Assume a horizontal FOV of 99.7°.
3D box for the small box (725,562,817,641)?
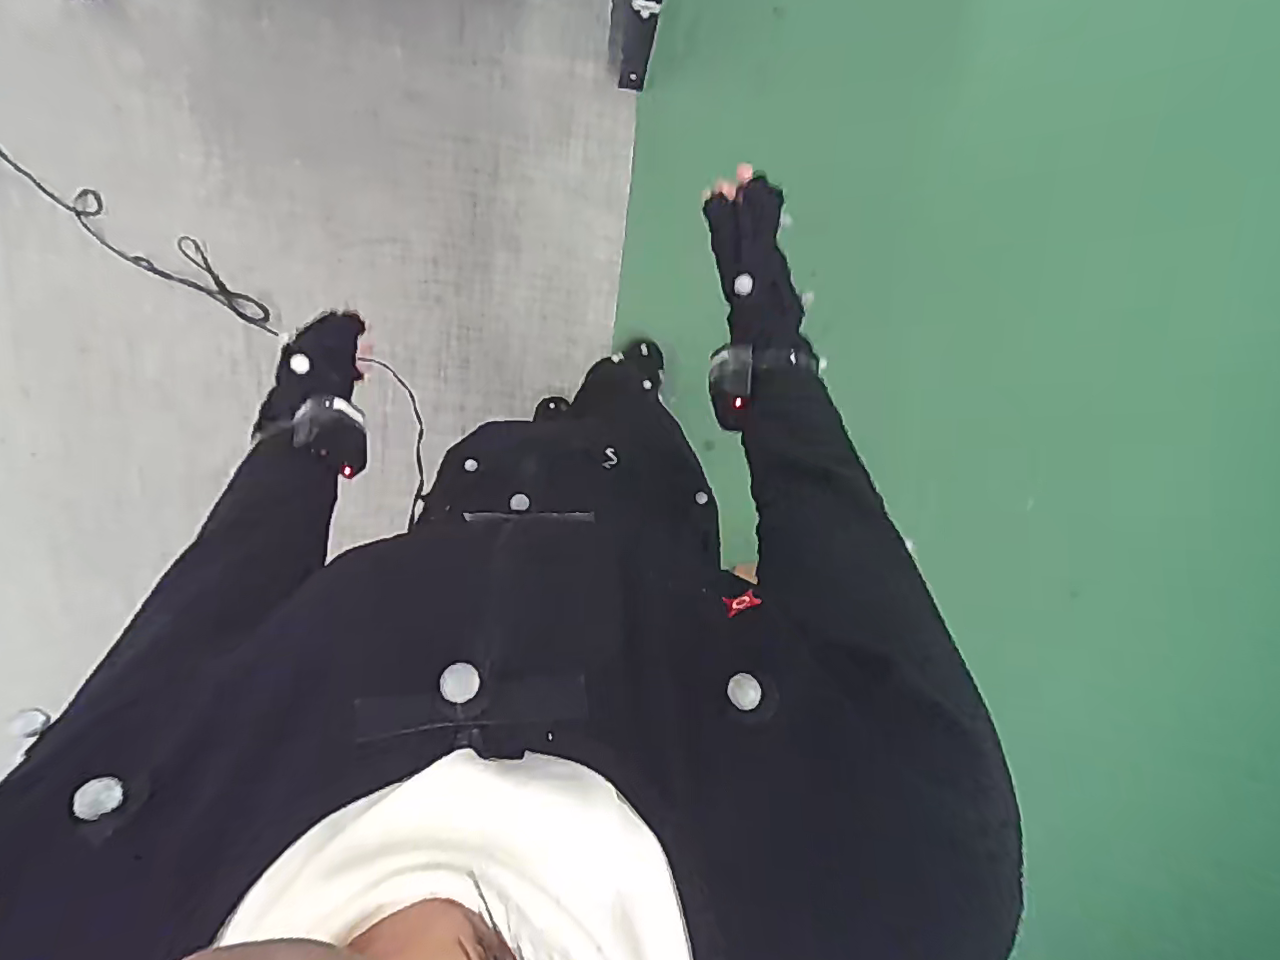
[{"bbox_3d":[0.350,0.334,1.472,0.179,0.176,0.168,9,101,-8],"label":"small box"}]
